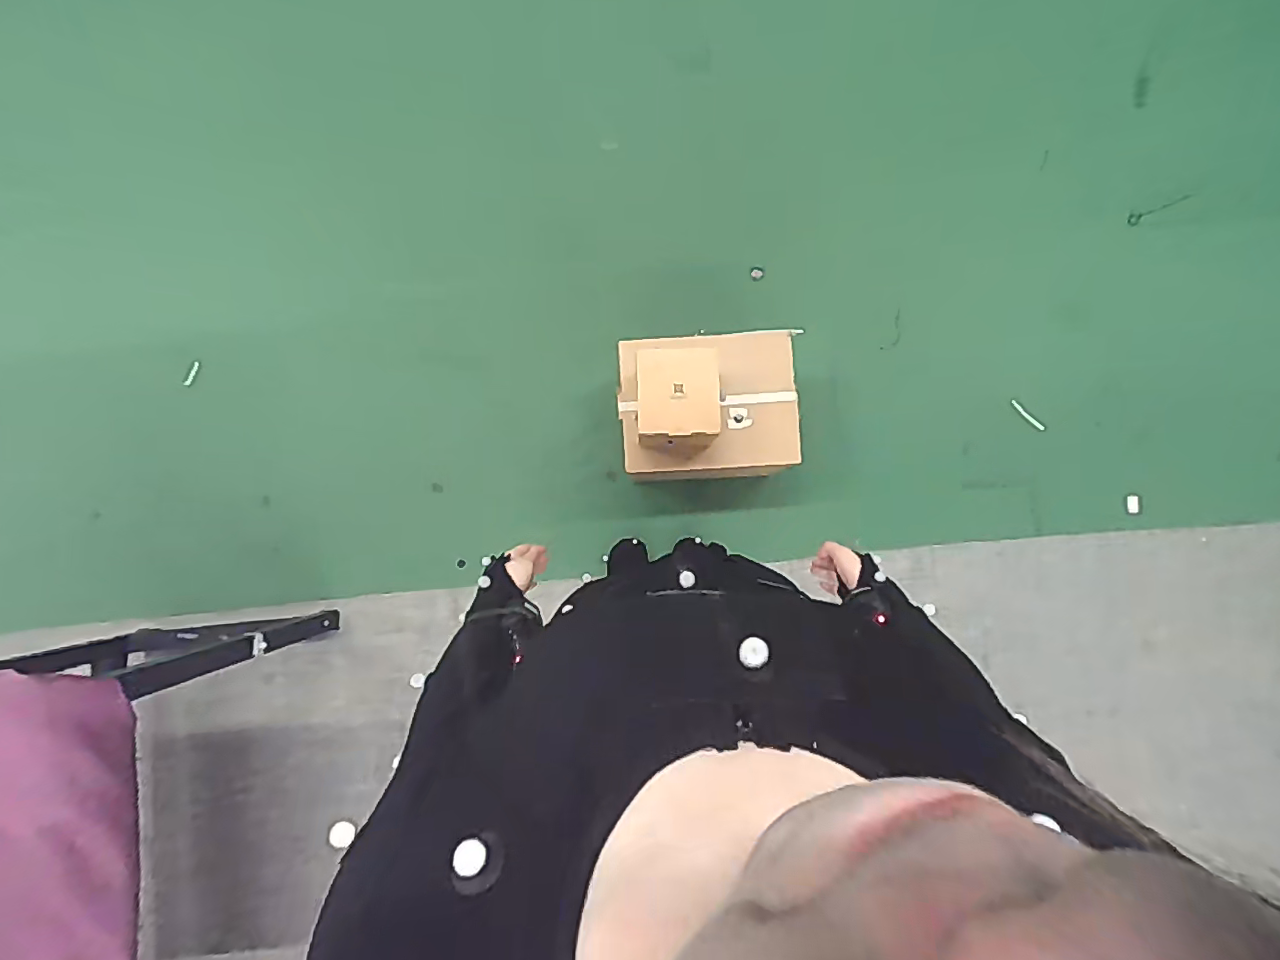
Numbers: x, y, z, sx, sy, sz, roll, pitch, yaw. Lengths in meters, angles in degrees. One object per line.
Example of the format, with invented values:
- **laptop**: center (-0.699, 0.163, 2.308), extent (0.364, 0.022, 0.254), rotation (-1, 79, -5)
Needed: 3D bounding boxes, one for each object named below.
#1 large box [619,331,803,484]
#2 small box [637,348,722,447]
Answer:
- **large box**: center (0.160, -0.165, 1.377), extent (0.408, 0.320, 0.320), rotation (-3, 86, 0)
- **small box**: center (0.077, -0.167, 1.134), extent (0.168, 0.176, 0.179), rotation (-1, 86, 0)
